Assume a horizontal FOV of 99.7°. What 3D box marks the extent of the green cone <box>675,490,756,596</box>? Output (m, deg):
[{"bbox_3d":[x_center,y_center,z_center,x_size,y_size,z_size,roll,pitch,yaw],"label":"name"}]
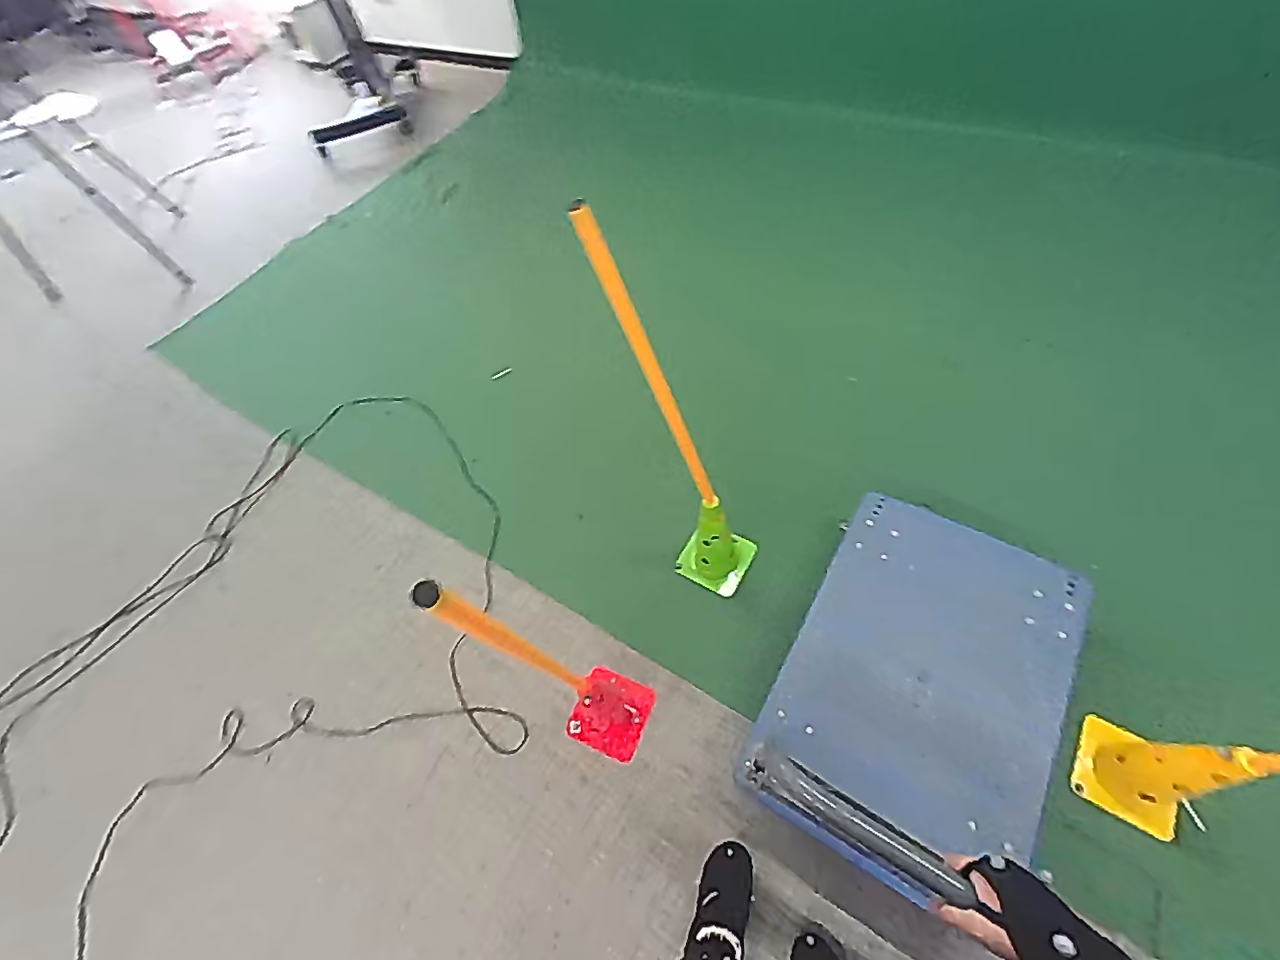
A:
[{"bbox_3d":[0.211,0.146,1.530,0.200,0.368,0.202,25,63,23],"label":"green cone"}]
